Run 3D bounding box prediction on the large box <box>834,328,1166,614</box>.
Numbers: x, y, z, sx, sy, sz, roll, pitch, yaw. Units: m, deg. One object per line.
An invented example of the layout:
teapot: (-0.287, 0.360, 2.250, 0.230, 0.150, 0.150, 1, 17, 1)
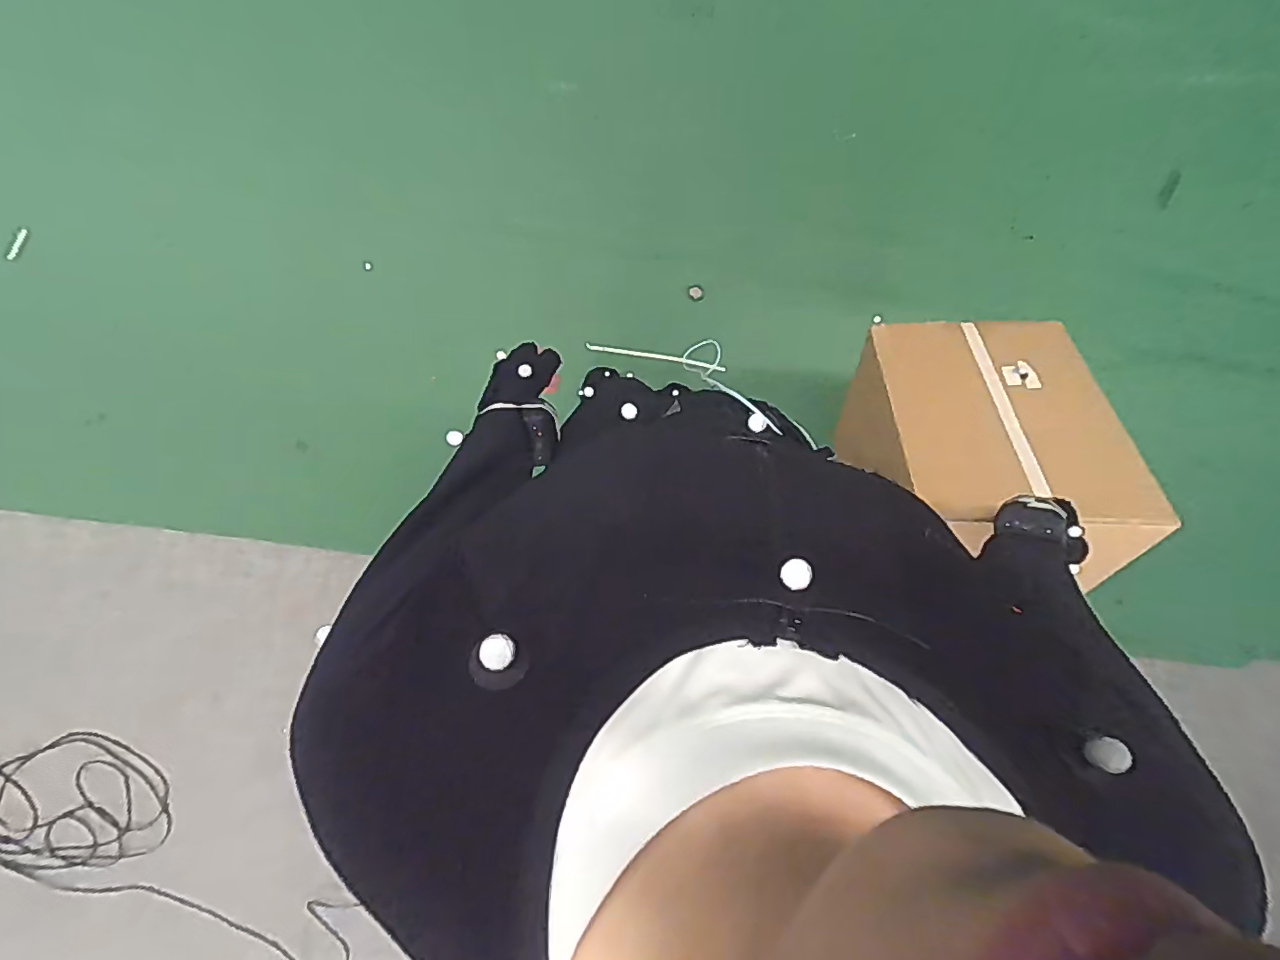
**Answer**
large box: (0.551, -0.012, 0.944, 0.320, 0.408, 0.320, 1, 143, 5)
